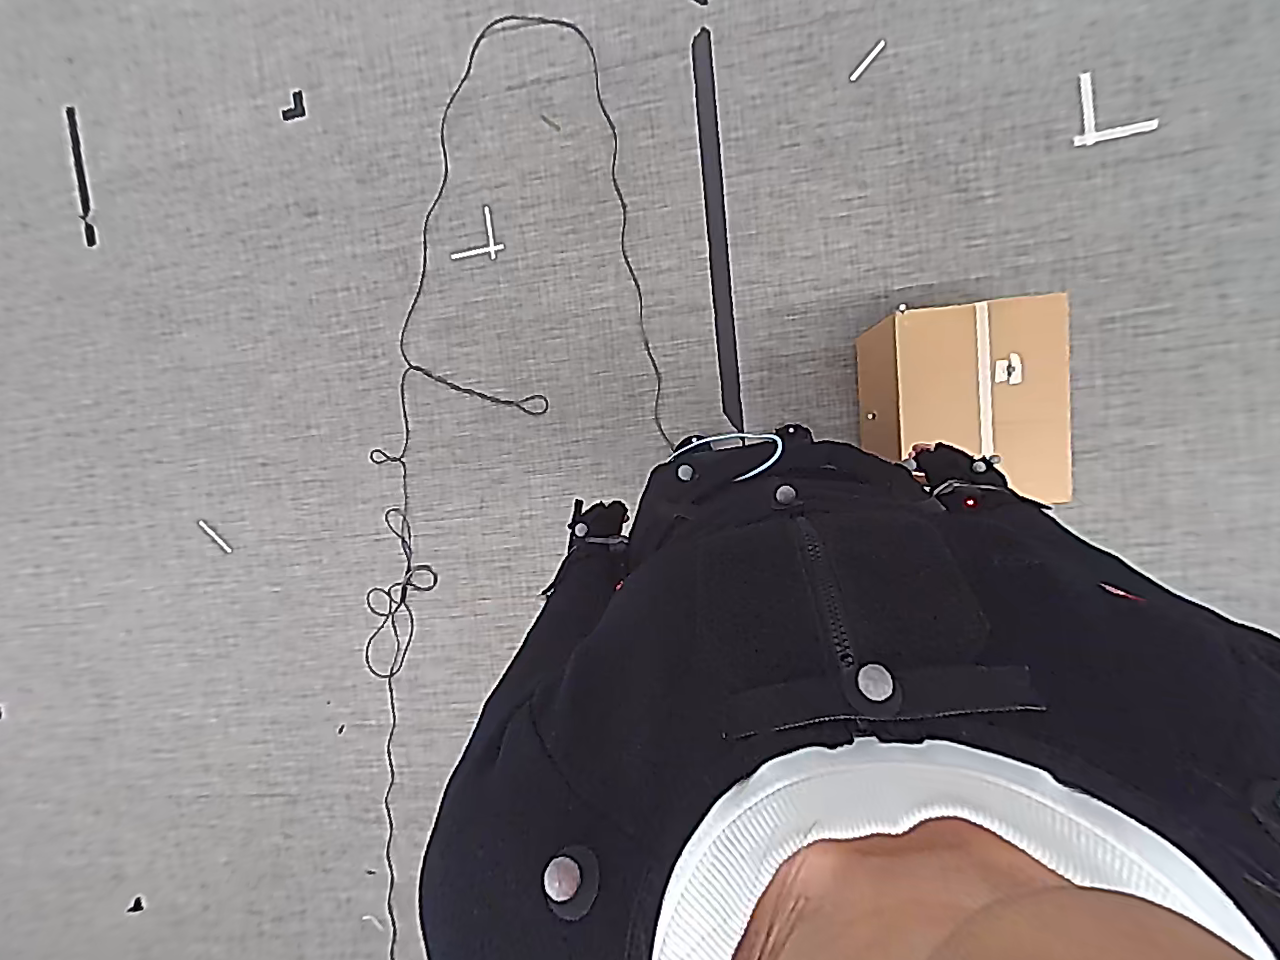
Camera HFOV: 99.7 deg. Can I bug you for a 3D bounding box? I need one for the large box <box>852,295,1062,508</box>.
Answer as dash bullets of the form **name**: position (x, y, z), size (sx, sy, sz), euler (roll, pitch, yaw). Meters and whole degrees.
- **large box**: position (0.688, -0.161, 1.229), size (0.320, 0.320, 0.408), euler (-4, 94, 7)
